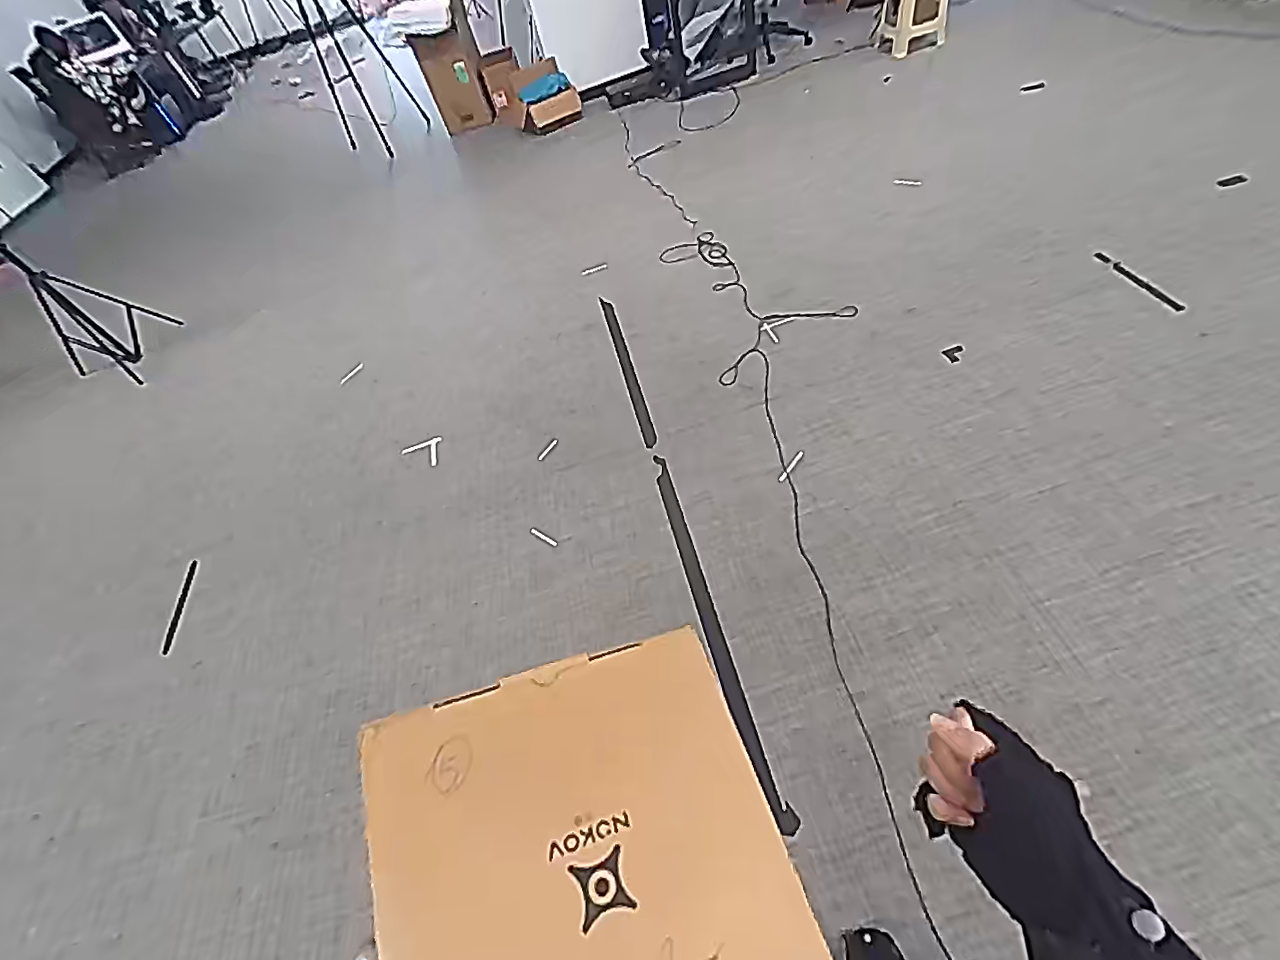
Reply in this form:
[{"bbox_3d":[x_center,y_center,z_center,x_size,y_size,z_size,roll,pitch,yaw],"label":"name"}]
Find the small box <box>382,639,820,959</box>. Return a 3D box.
[{"bbox_3d":[-0.036,0.216,0.298,0.168,0.176,0.179,-10,59,-21],"label":"small box"}]
